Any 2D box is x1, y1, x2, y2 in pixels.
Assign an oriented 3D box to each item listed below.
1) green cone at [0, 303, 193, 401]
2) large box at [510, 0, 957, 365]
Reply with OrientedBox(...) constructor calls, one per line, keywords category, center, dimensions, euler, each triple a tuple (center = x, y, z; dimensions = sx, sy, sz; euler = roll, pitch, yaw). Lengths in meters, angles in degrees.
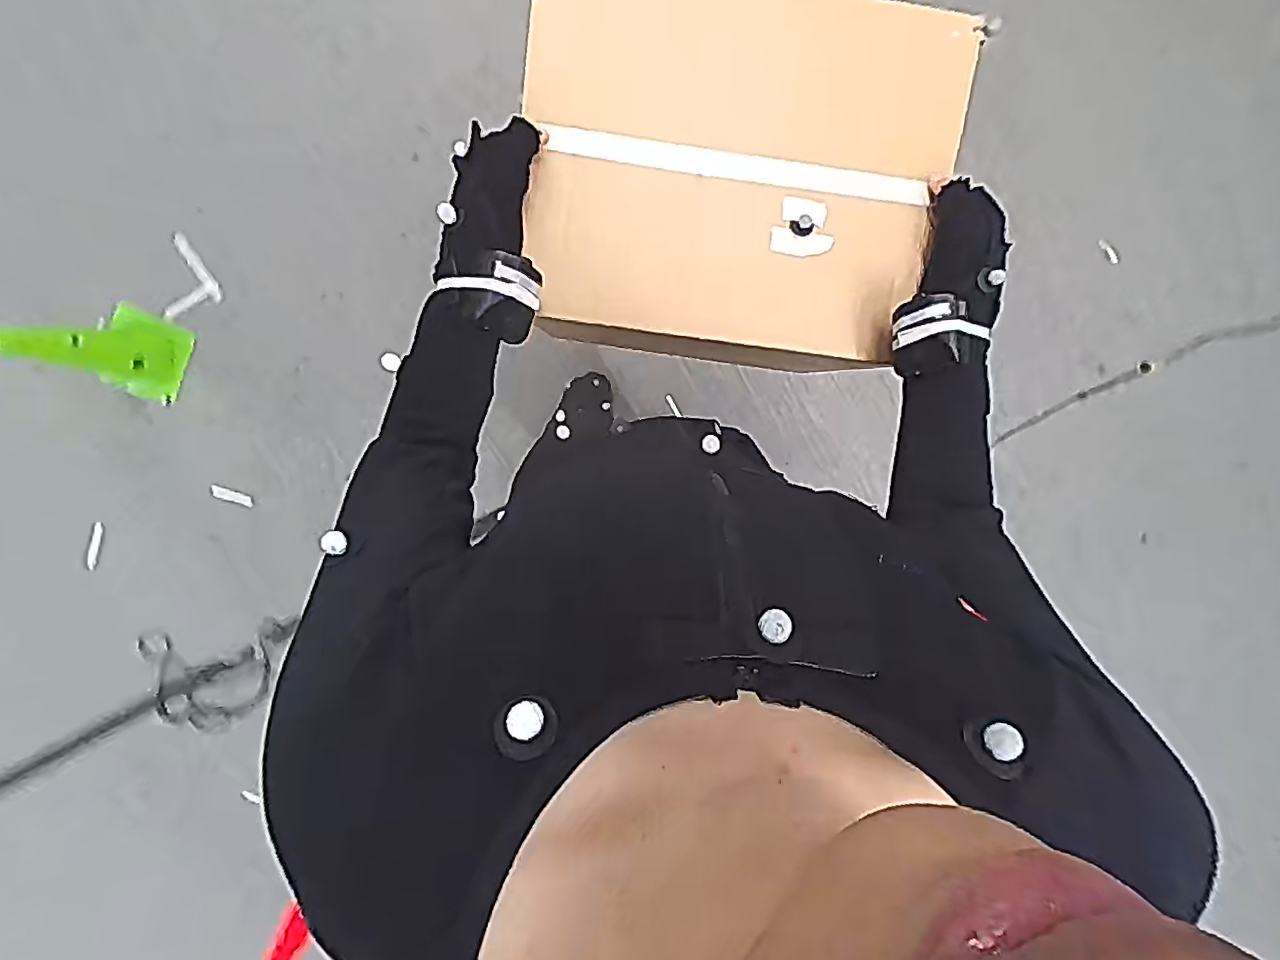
OrientedBox(category="green cone", center=(-1.257, -0.306, 1.210), dimensions=(0.202, 0.368, 0.200), euler=(24, 96, -4))
OrientedBox(category="large box", center=(0.075, -0.318, 0.655), dimensions=(0.408, 0.320, 0.320), euler=(5, 100, -4))
